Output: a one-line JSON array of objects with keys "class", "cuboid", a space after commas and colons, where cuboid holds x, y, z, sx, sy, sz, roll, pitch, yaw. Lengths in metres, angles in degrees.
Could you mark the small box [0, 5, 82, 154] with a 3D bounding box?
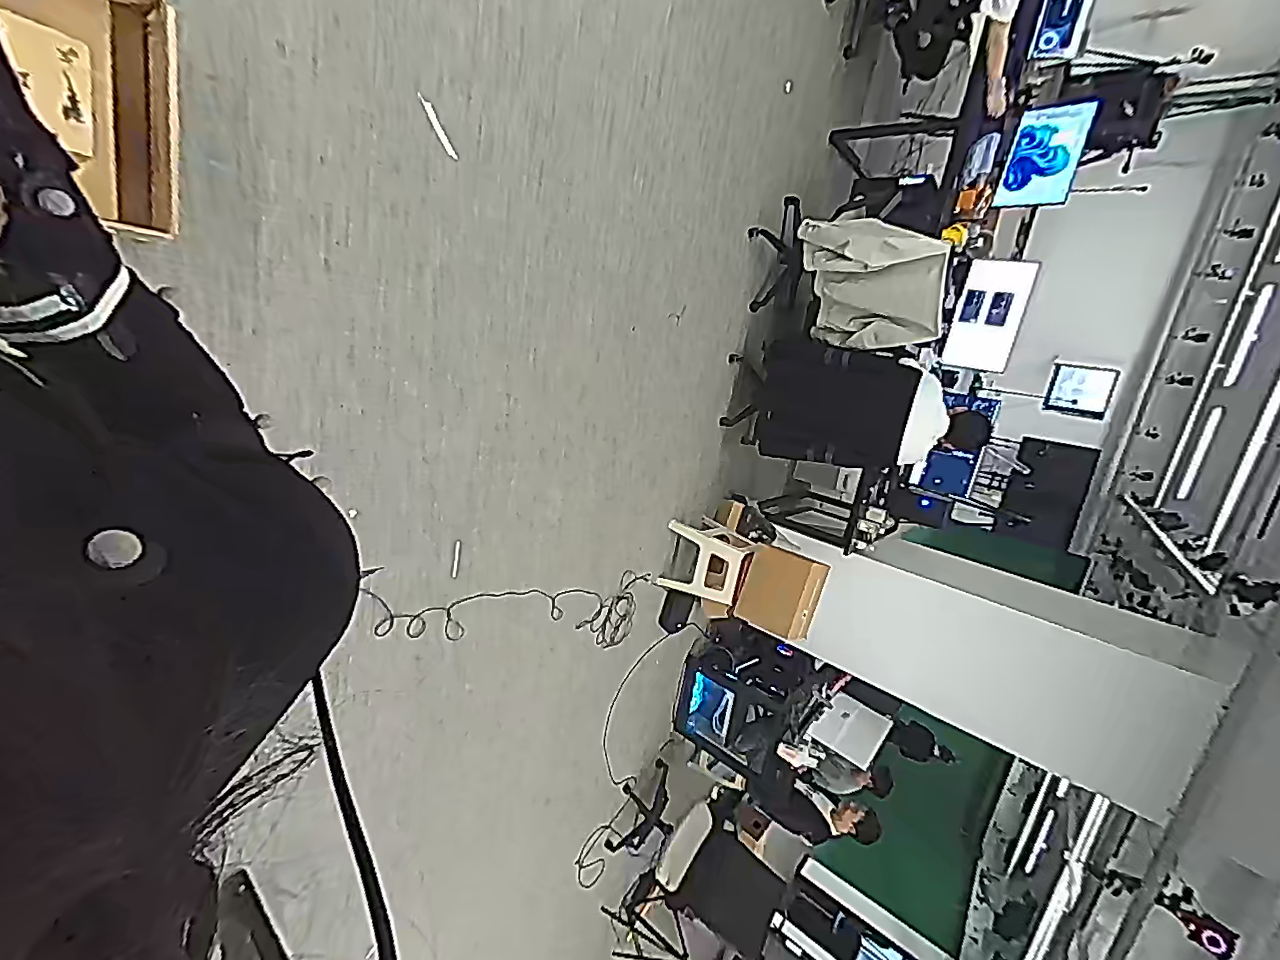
[{"class": "small box", "cuboid": [-0.996, -0.625, 0.834, 0.179, 0.176, 0.168, -4, 110, -51]}]
